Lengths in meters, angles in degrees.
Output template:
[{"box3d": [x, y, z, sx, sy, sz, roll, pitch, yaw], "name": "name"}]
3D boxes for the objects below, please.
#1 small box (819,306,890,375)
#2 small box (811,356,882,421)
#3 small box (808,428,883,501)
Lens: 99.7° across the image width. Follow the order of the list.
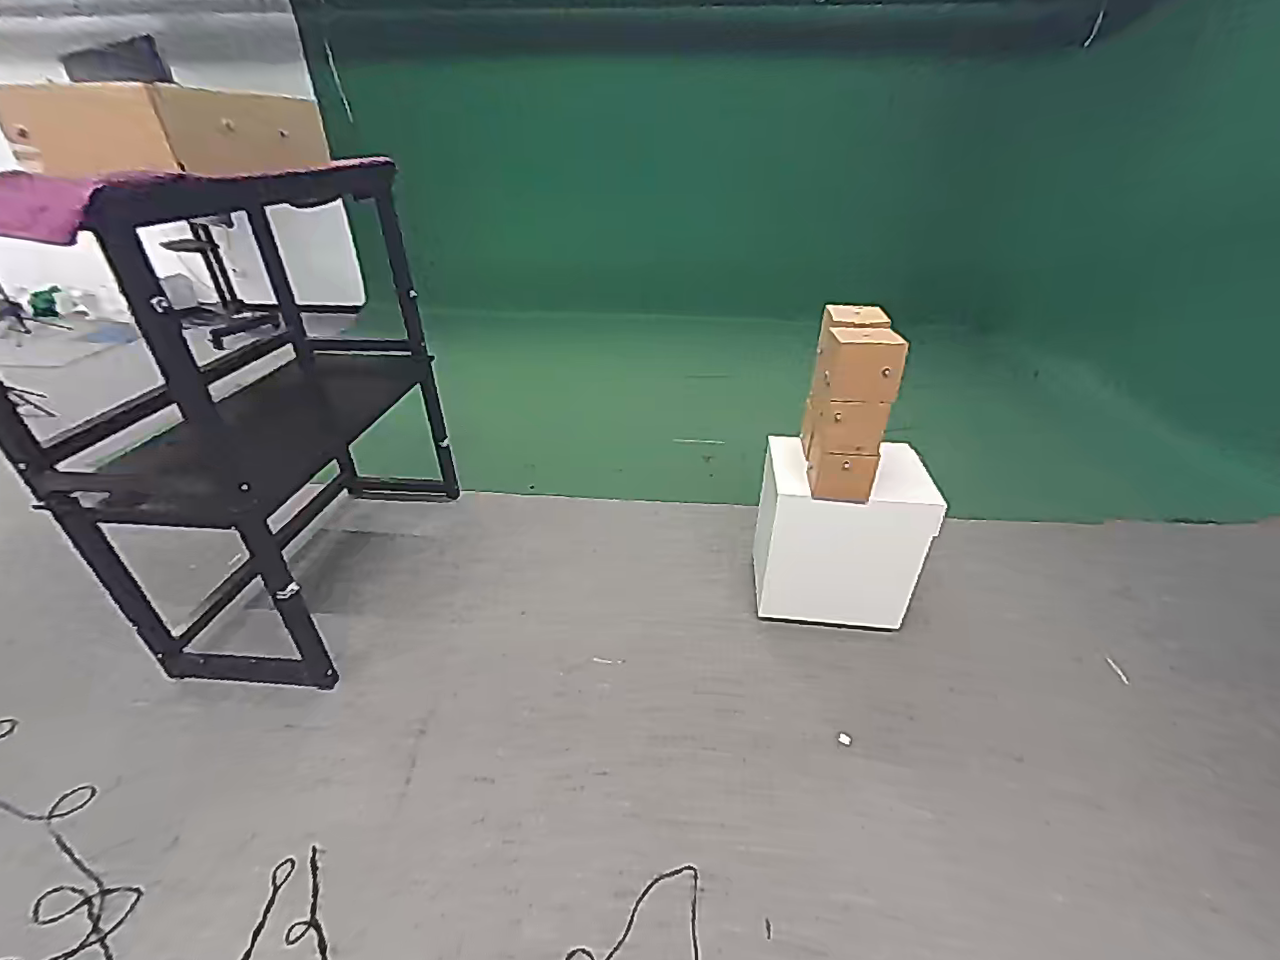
[{"box3d": [0.672, -0.442, 1.710, 0.168, 0.176, 0.179, 5, 35, 7], "name": "small box"}, {"box3d": [0.681, -0.307, 1.804, 0.179, 0.176, 0.168, 5, 34, 7], "name": "small box"}, {"box3d": [0.642, -0.048, 1.705, 0.179, 0.176, 0.168, 4, 32, 8], "name": "small box"}]
